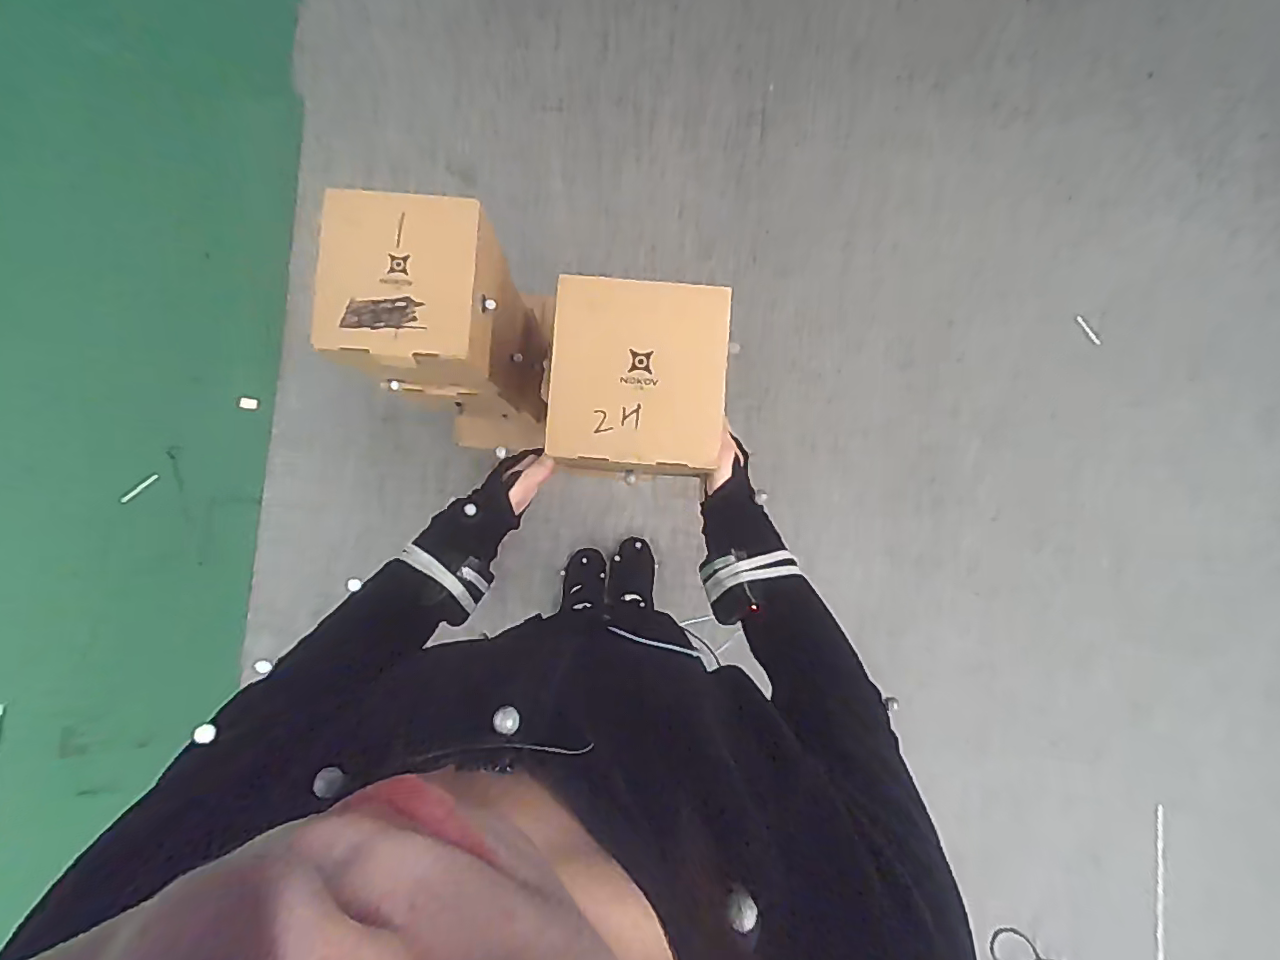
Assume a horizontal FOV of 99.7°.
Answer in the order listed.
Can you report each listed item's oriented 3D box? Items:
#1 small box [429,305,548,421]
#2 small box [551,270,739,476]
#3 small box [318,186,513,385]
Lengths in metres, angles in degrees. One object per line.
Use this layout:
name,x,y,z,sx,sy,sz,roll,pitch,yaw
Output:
small box,-0.264,-0.208,0.982,0.168,0.176,0.179,5,87,-2
small box,0.005,-0.101,0.581,0.168,0.176,0.179,4,87,0
small box,-0.255,-0.219,0.653,0.168,0.176,0.179,3,86,-2
